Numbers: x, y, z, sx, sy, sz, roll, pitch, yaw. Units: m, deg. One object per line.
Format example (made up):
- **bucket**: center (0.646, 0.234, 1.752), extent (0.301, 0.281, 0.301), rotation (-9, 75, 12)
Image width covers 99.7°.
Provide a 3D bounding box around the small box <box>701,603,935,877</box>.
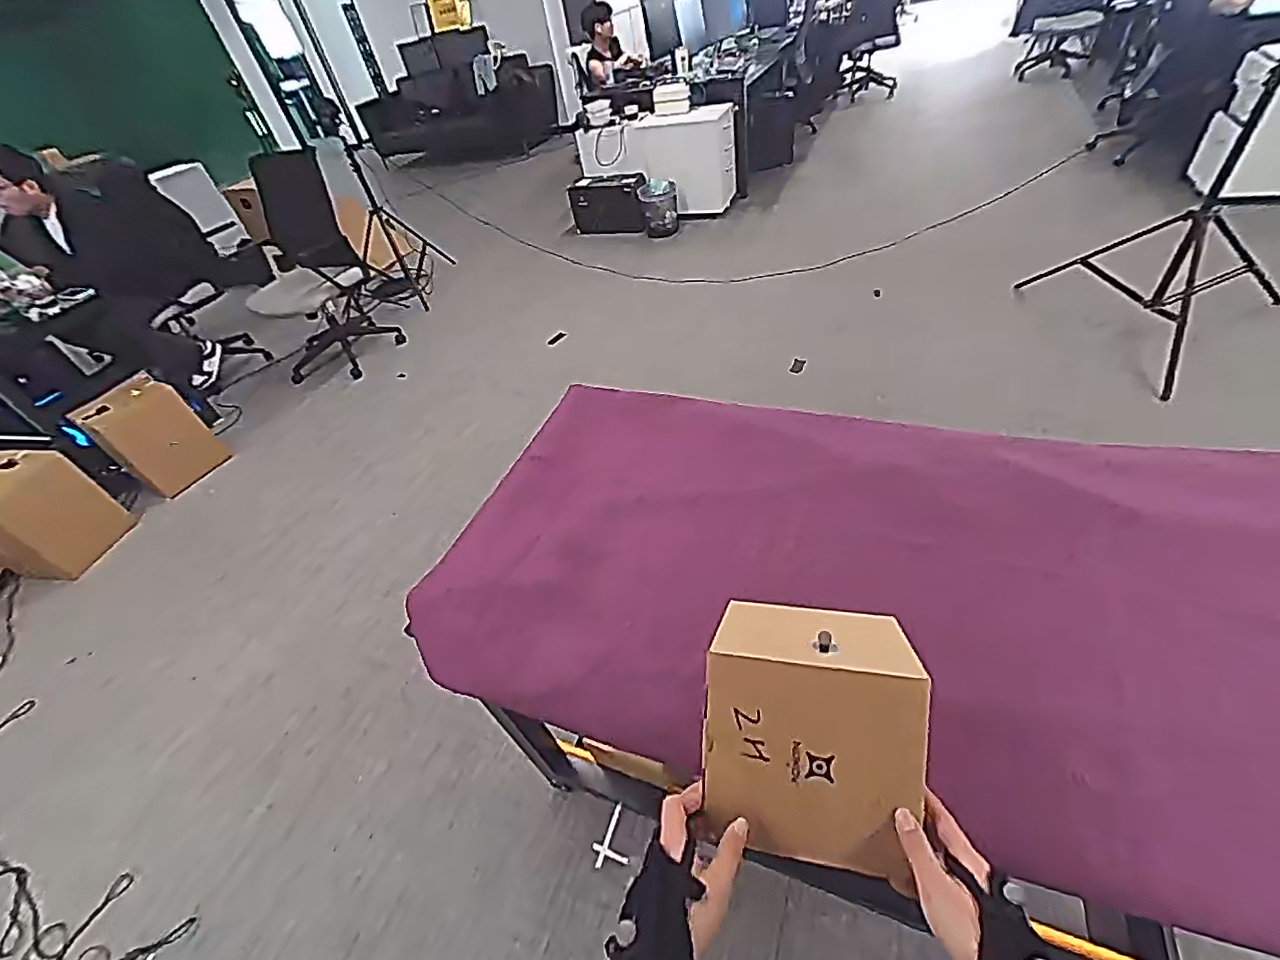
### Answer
- **small box**: center (0.160, 0.223, 0.516), extent (0.179, 0.168, 0.176), rotation (3, 2, 16)
